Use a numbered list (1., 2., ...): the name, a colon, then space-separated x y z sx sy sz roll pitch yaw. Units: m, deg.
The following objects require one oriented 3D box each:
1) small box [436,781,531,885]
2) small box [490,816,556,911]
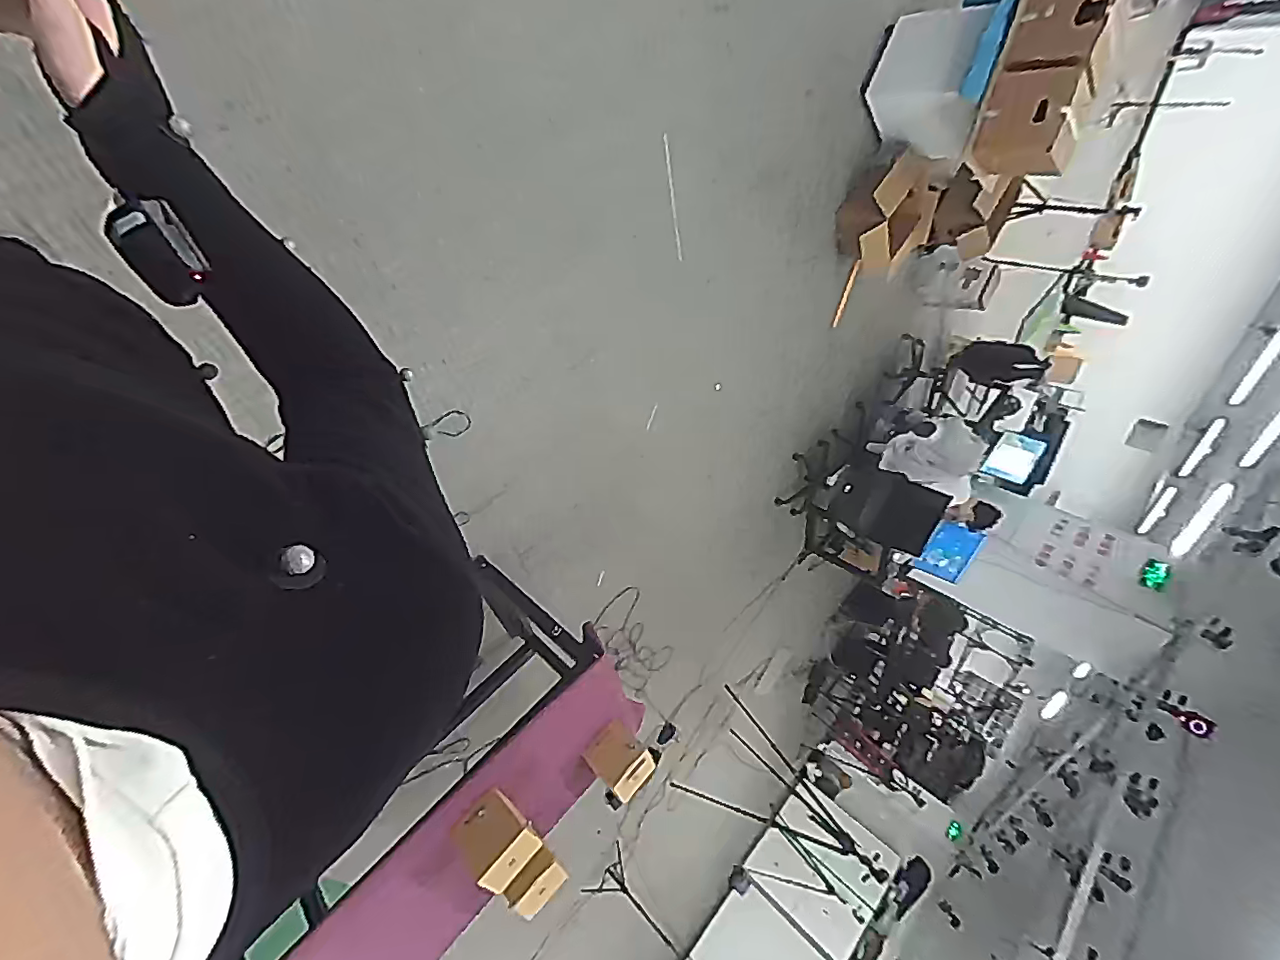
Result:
1. small box: -0.442 0.995 1.534 0.168 0.176 0.179 -40 140 -26
2. small box: -0.401 1.235 1.751 0.168 0.176 0.179 -37 136 -26
